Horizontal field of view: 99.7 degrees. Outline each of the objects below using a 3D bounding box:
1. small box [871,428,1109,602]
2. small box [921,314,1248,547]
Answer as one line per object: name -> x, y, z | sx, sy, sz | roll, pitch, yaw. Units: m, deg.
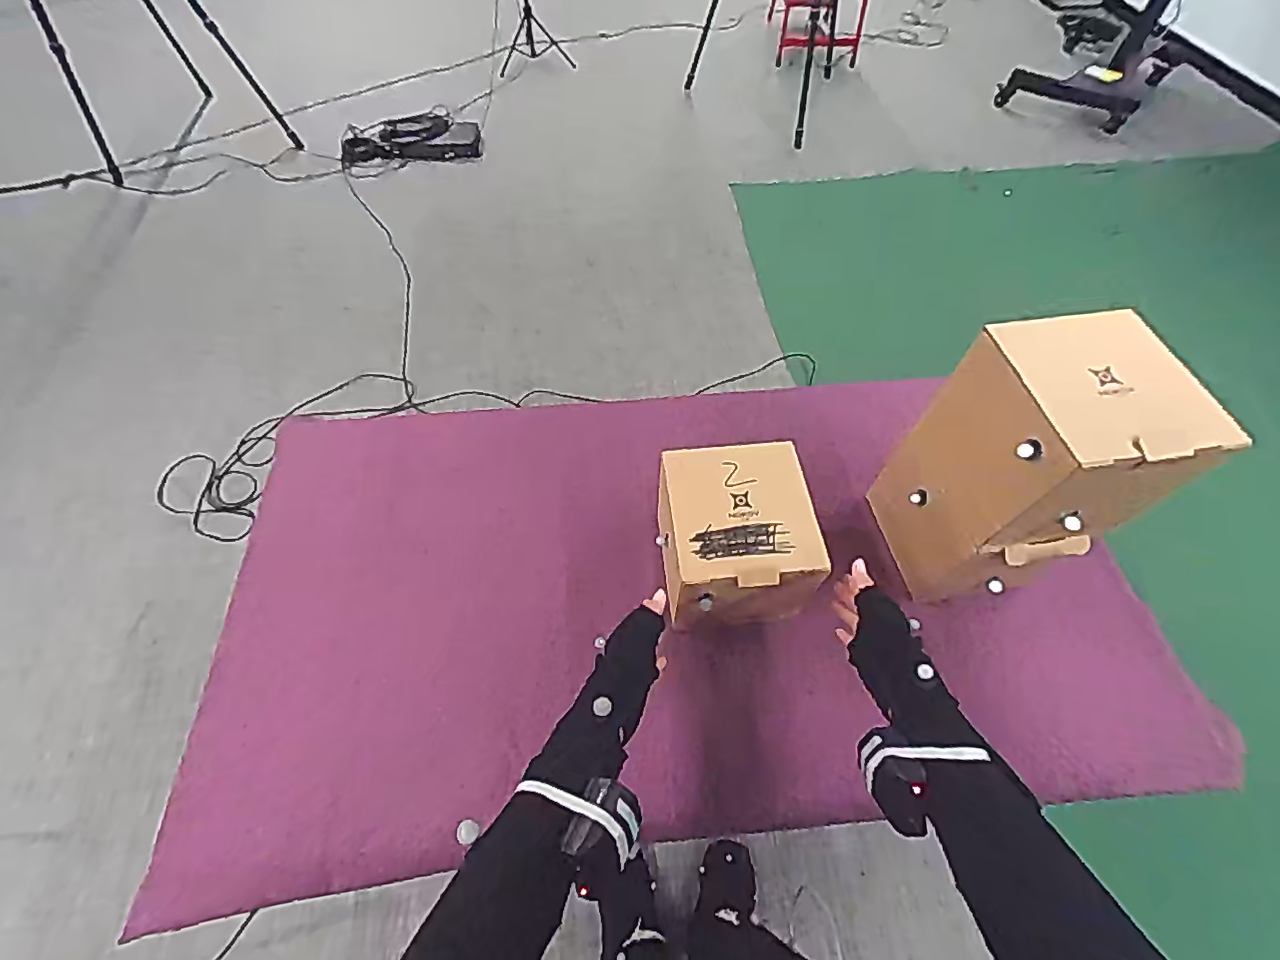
small box -> 0.435, 0.041, 0.712 | 0.168, 0.176, 0.179 | -8, 58, -5
small box -> 0.439, -0.049, 0.577 | 0.168, 0.176, 0.179 | -7, 59, -5
